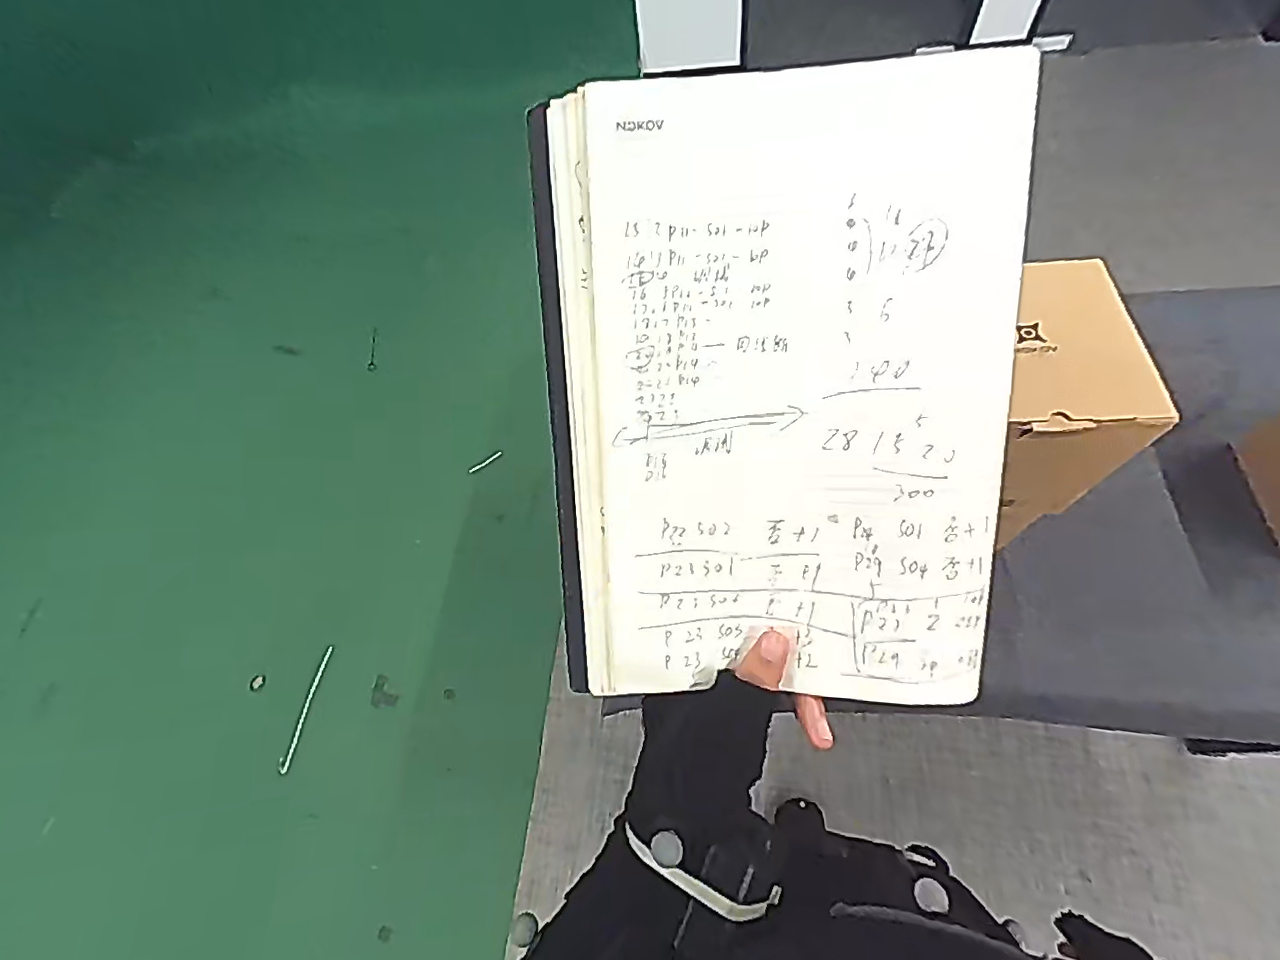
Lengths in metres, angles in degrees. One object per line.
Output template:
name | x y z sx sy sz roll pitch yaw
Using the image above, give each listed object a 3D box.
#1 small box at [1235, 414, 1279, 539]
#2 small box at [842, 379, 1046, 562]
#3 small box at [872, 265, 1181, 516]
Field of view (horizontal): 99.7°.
small box | 0.852 -0.009 0.602 0.168 0.176 0.179 1 61 9
small box | 0.360 -0.009 0.672 0.168 0.176 0.179 -3 61 7
small box | 0.341 -0.080 0.527 0.168 0.176 0.179 -1 61 7
